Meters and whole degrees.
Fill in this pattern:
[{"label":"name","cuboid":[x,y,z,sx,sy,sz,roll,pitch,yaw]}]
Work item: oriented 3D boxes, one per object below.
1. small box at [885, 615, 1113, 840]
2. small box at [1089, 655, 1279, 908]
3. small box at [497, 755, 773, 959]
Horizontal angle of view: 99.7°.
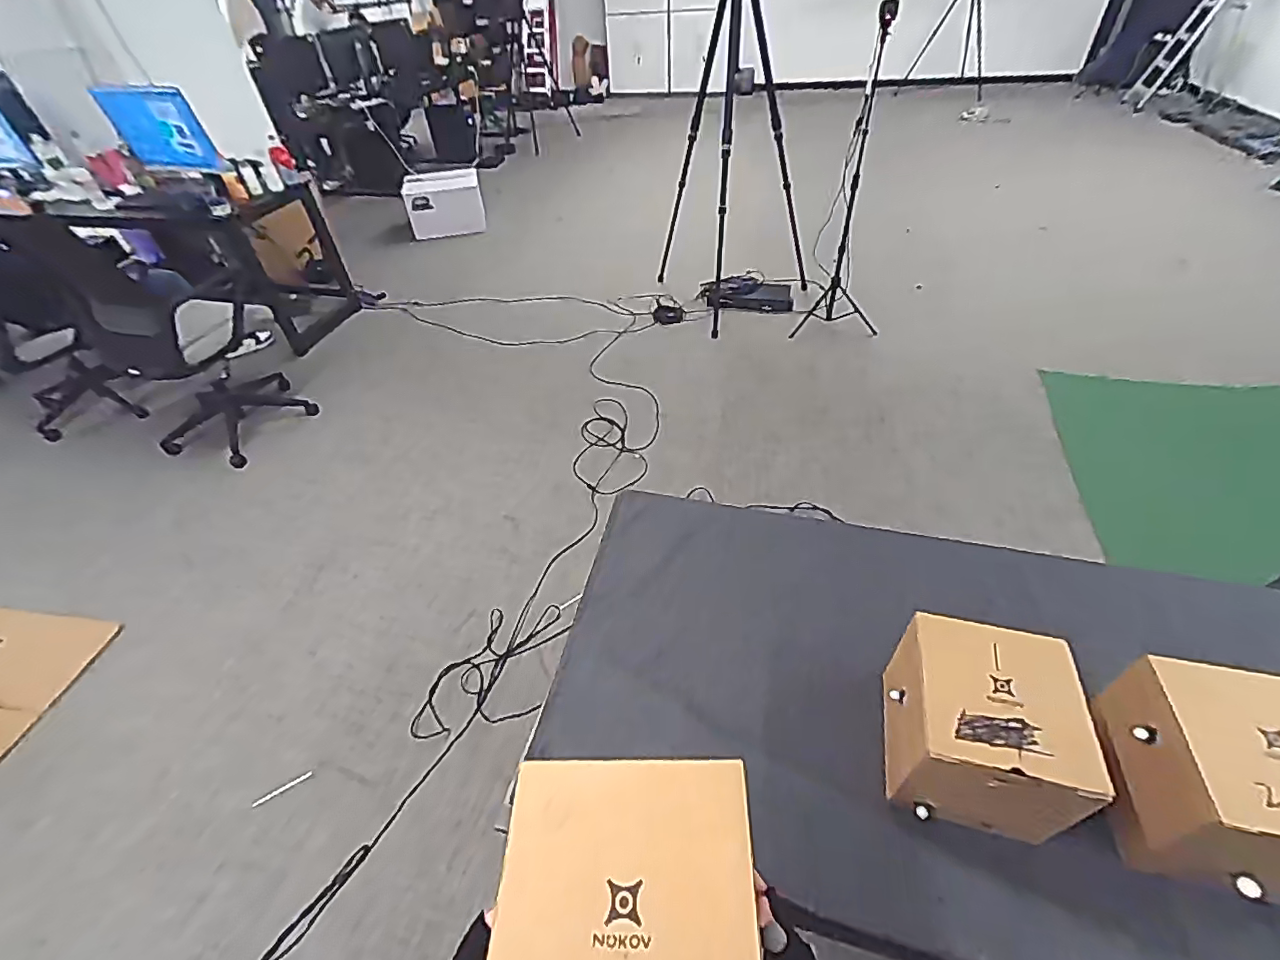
[{"label":"small box","cuboid":[0.399,0.293,0.642,0.168,0.176,0.179,8,44,14]},{"label":"small box","cuboid":[0.632,0.324,0.587,0.168,0.176,0.179,7,45,13]},{"label":"small box","cuboid":[0.004,0.319,0.390,0.168,0.176,0.179,-3,47,6]}]
